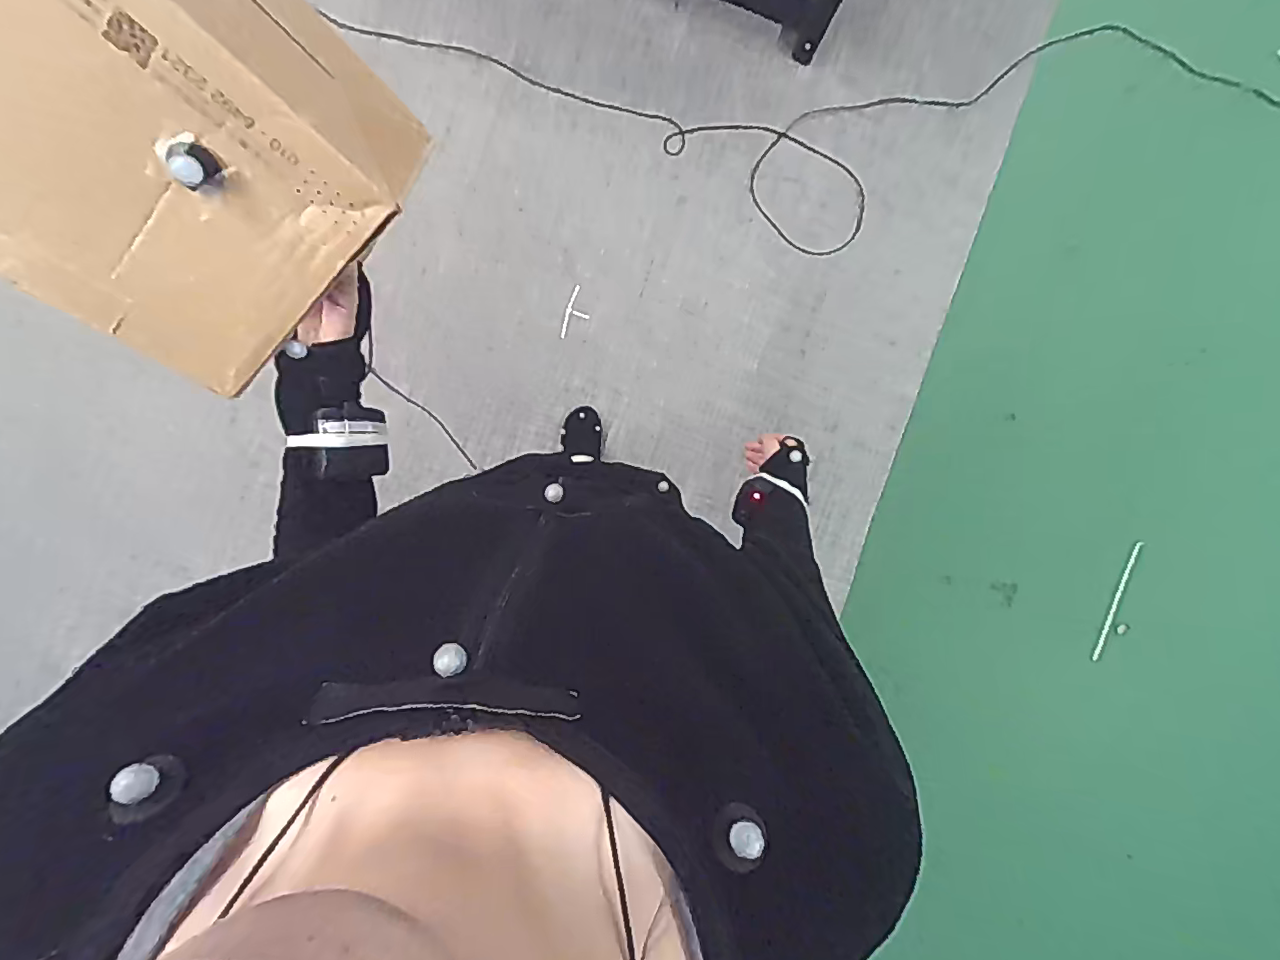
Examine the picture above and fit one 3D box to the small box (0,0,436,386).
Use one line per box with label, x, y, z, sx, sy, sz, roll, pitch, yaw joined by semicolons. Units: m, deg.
small box;-0.241;-0.197;0.314;0.176;0.179;0.168;-36;129;20
